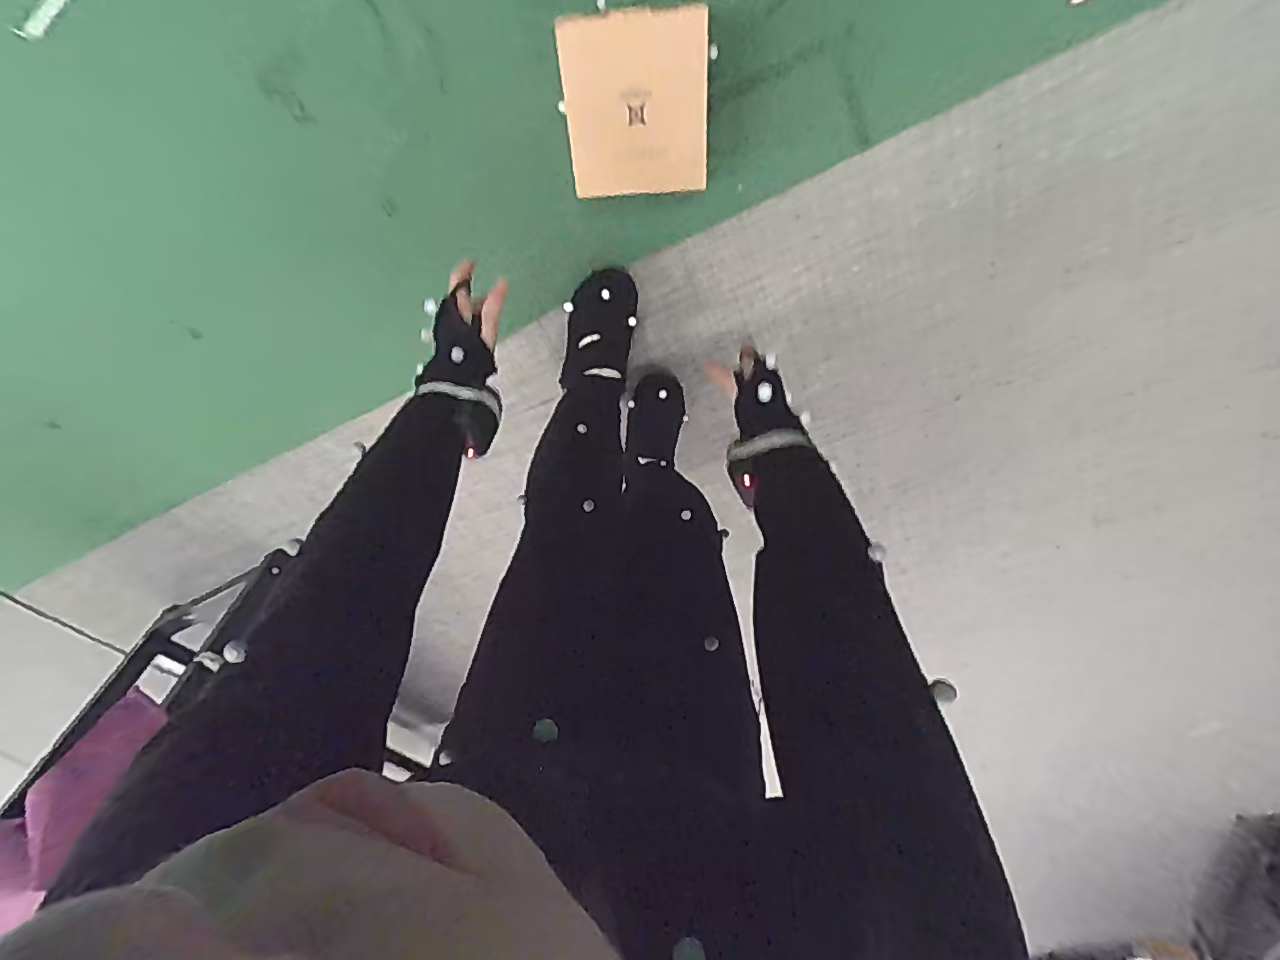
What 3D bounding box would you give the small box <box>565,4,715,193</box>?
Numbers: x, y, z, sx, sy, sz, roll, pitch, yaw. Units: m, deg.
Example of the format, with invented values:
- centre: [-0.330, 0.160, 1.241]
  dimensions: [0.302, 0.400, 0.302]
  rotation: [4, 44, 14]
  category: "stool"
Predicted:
- centre: [0.005, -0.485, 0.691]
  dimensions: [0.168, 0.176, 0.179]
  rotation: [-1, 131, 4]
  category: "small box"
